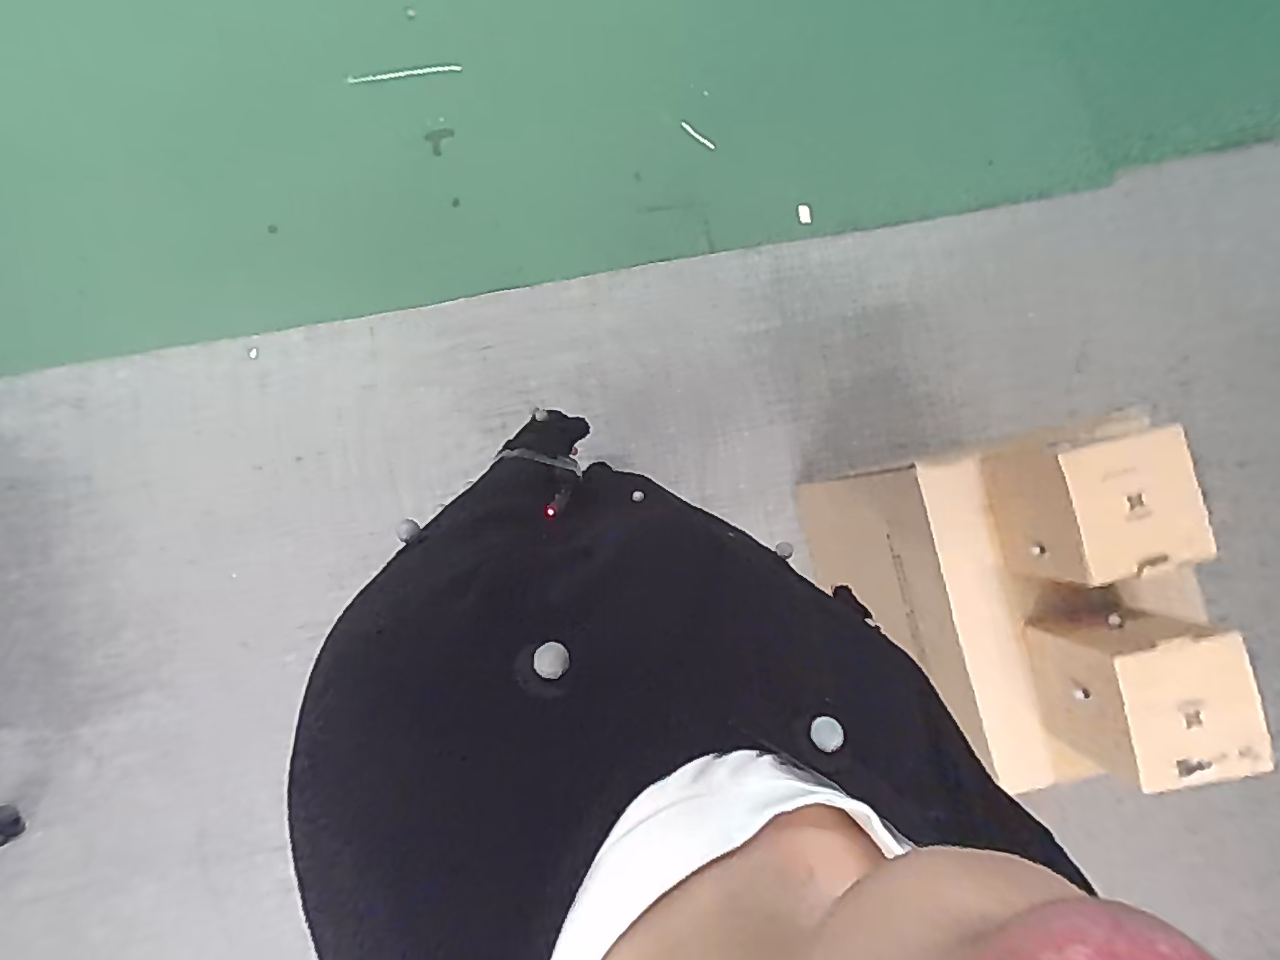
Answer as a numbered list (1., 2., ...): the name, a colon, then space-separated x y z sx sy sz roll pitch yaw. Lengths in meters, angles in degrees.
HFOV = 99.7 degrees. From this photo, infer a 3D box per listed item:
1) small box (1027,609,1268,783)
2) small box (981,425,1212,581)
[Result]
1. small box: 0.695 0.288 0.765 0.168 0.176 0.179 -12 86 1
2. small box: 0.637 0.033 0.779 0.168 0.176 0.179 -14 86 0
